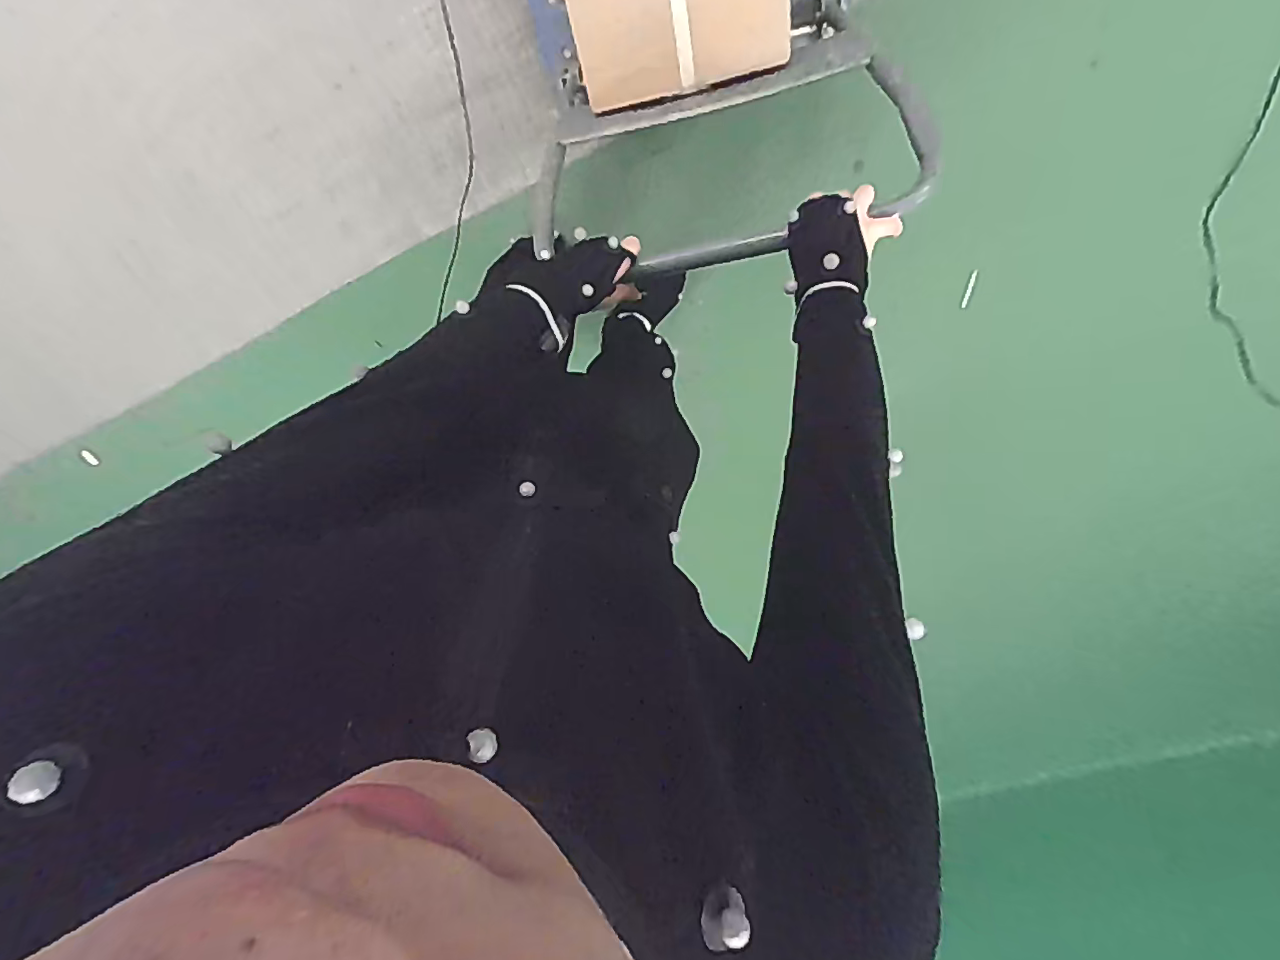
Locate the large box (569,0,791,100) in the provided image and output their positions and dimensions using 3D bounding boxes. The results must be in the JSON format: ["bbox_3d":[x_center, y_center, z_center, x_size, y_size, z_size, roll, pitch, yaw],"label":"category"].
[{"bbox_3d":[0.039,-0.872,0.807,0.320,0.320,0.408,-7,136,11],"label":"large box"}]
